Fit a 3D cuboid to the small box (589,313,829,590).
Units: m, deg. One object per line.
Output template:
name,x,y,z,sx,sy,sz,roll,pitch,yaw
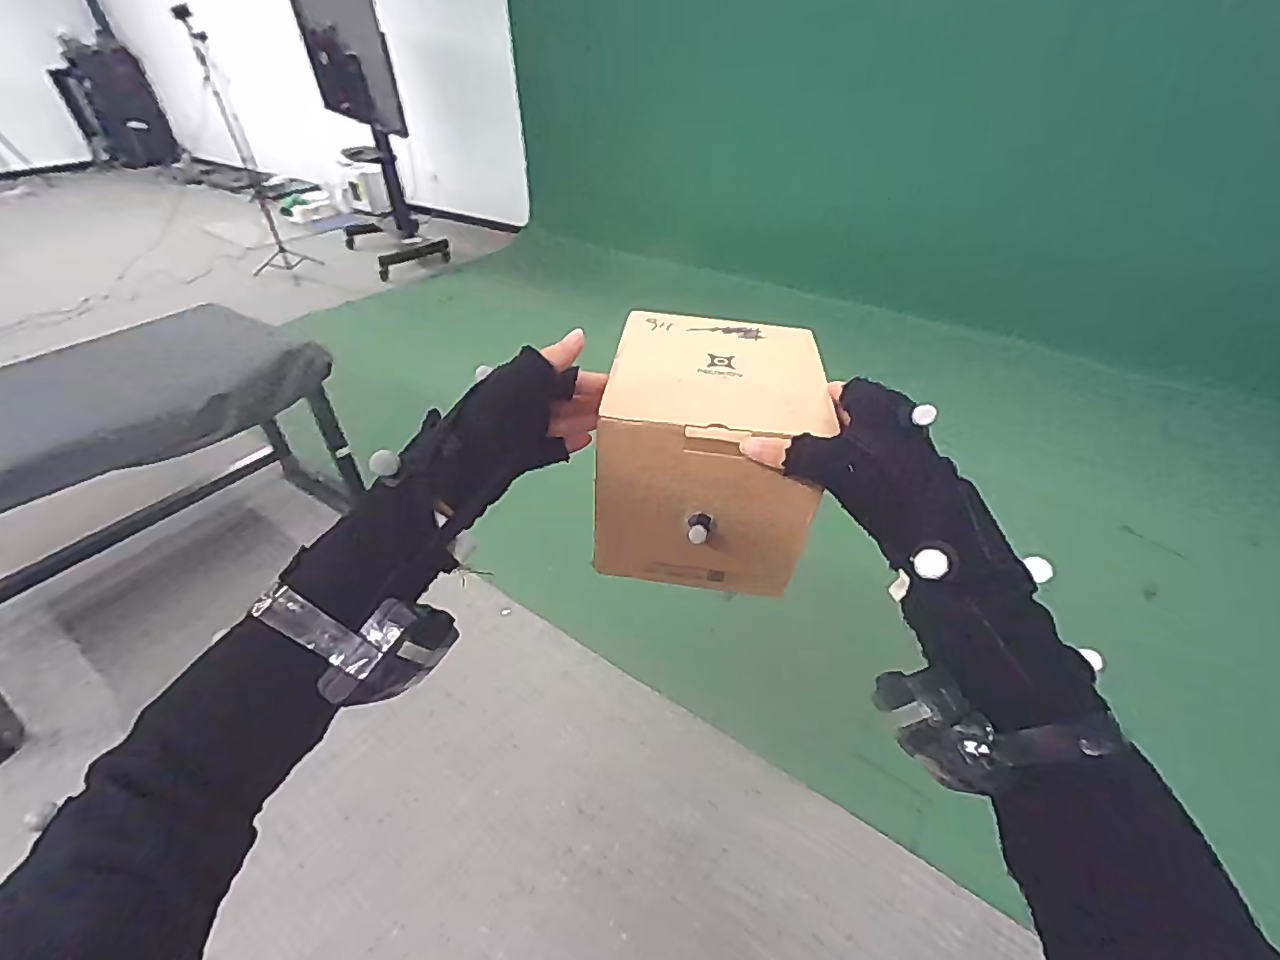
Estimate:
small box,0.052,-0.025,0.478,0.168,0.176,0.179,7,42,2
